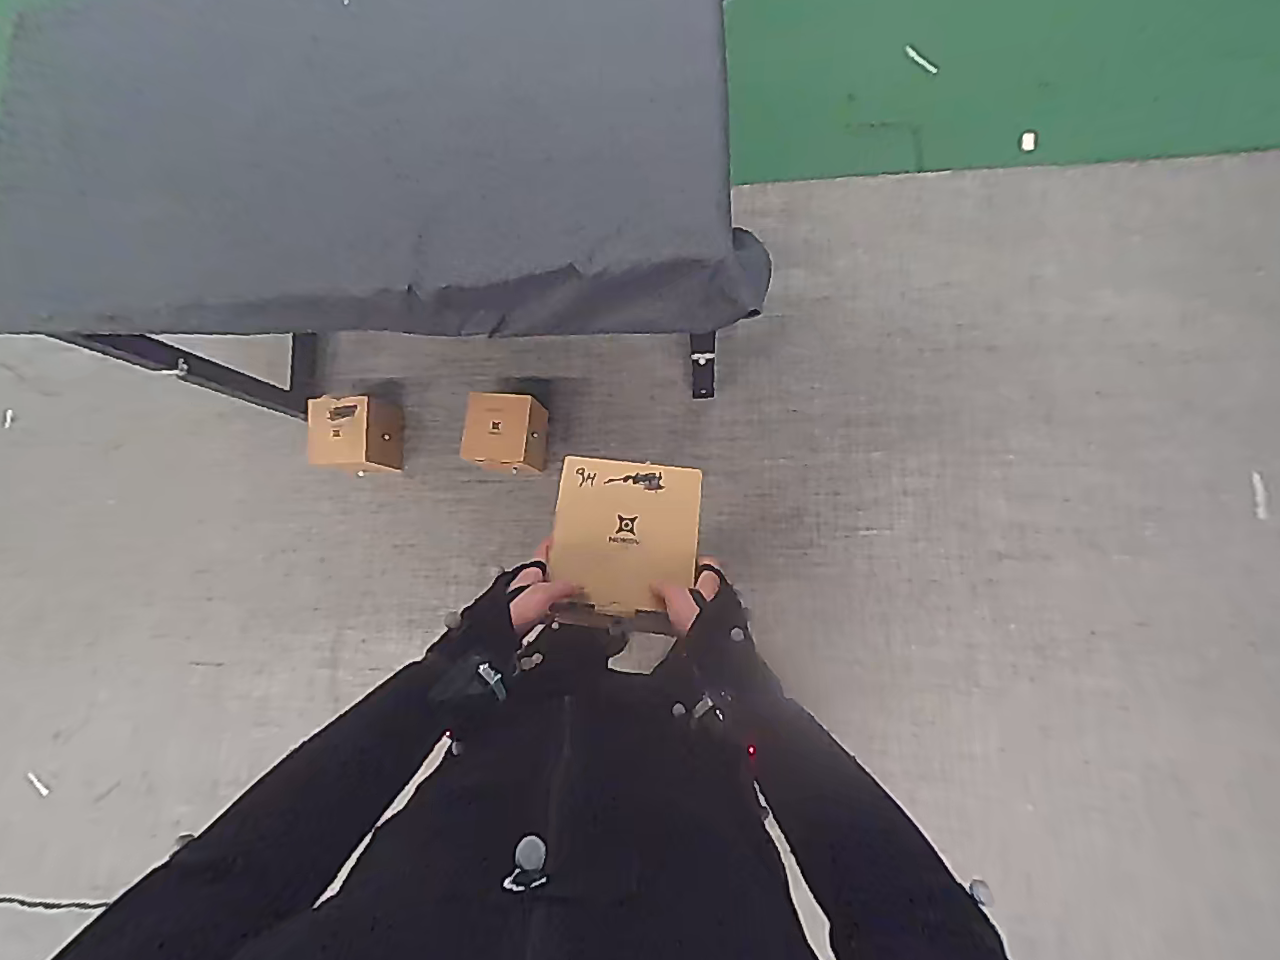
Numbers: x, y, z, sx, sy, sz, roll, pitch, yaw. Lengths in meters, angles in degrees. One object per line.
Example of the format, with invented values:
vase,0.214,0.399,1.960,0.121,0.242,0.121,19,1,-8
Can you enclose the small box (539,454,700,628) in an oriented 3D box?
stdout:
small box,-0.018,0.085,0.674,0.168,0.176,0.179,5,69,2

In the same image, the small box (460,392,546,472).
small box,-0.350,-0.120,1.409,0.168,0.176,0.179,3,82,6

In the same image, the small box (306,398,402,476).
small box,-0.761,-0.111,1.453,0.168,0.176,0.179,-3,84,7
